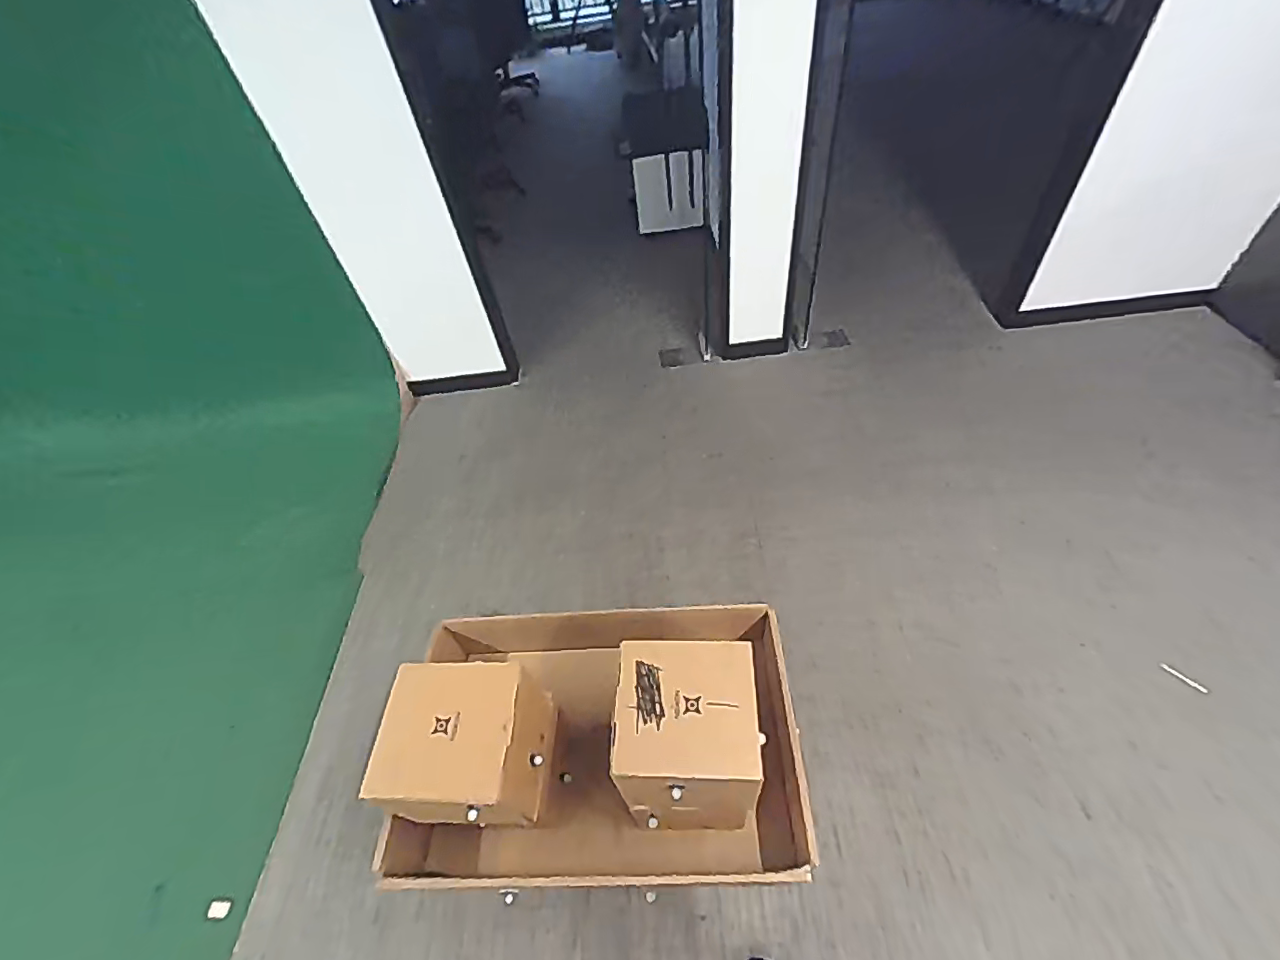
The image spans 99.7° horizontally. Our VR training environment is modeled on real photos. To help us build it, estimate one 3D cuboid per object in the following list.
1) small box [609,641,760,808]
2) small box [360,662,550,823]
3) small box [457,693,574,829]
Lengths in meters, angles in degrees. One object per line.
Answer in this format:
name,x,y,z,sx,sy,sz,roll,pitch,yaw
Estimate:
small box,0.064,0.328,0.723,0.179,0.176,0.168,-2,49,7
small box,-0.237,0.363,0.744,0.179,0.176,0.168,-2,50,6
small box,-0.217,0.457,0.876,0.179,0.176,0.168,-2,50,5
